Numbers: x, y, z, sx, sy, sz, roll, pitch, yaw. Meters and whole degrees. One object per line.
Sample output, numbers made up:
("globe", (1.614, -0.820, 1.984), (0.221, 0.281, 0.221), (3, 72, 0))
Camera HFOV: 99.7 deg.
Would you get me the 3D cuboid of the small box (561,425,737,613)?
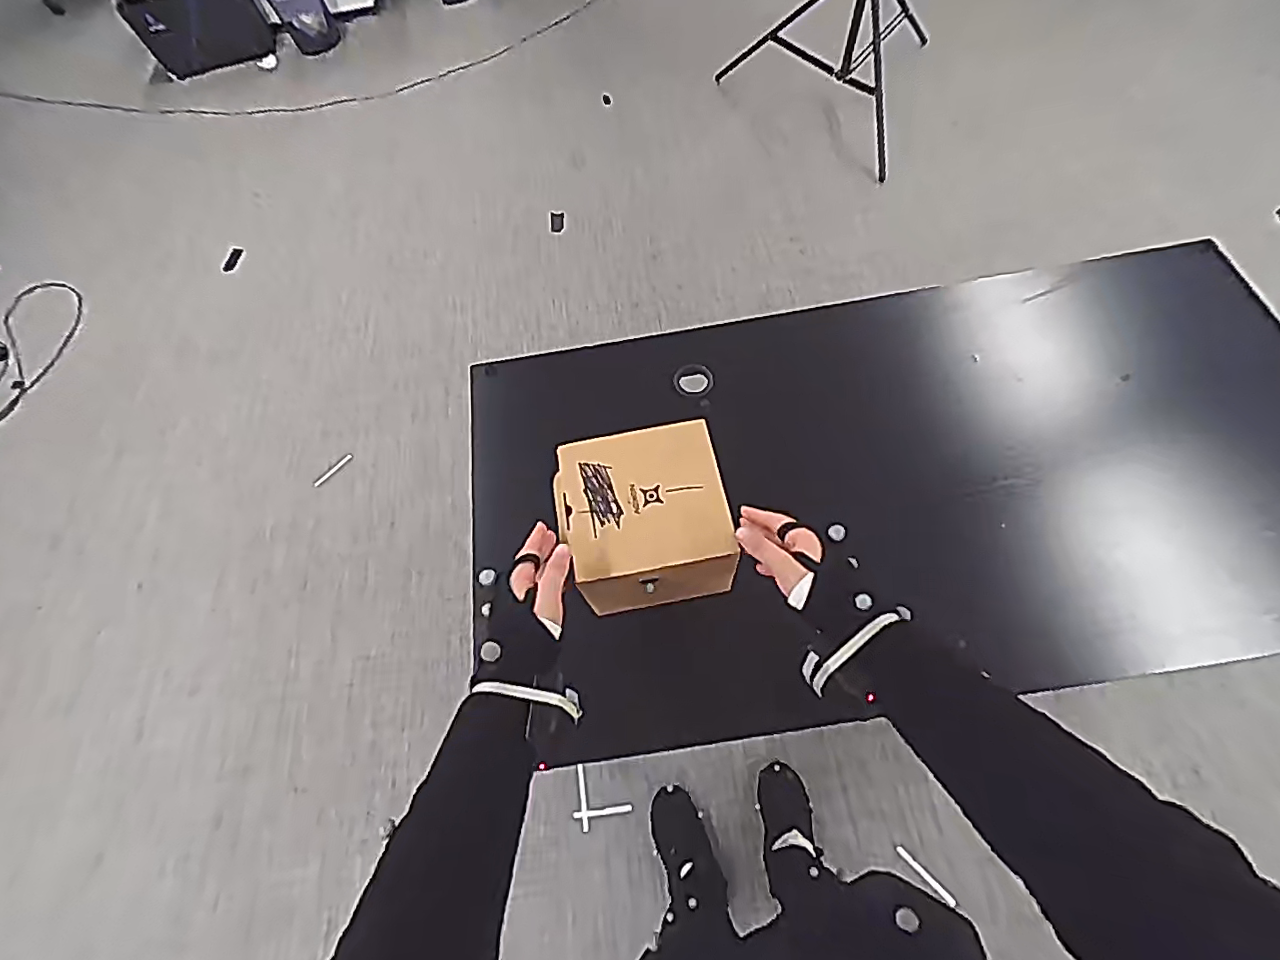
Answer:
("small box", (0.011, 0.057, 0.669), (0.179, 0.176, 0.168), (-11, 65, -1))
